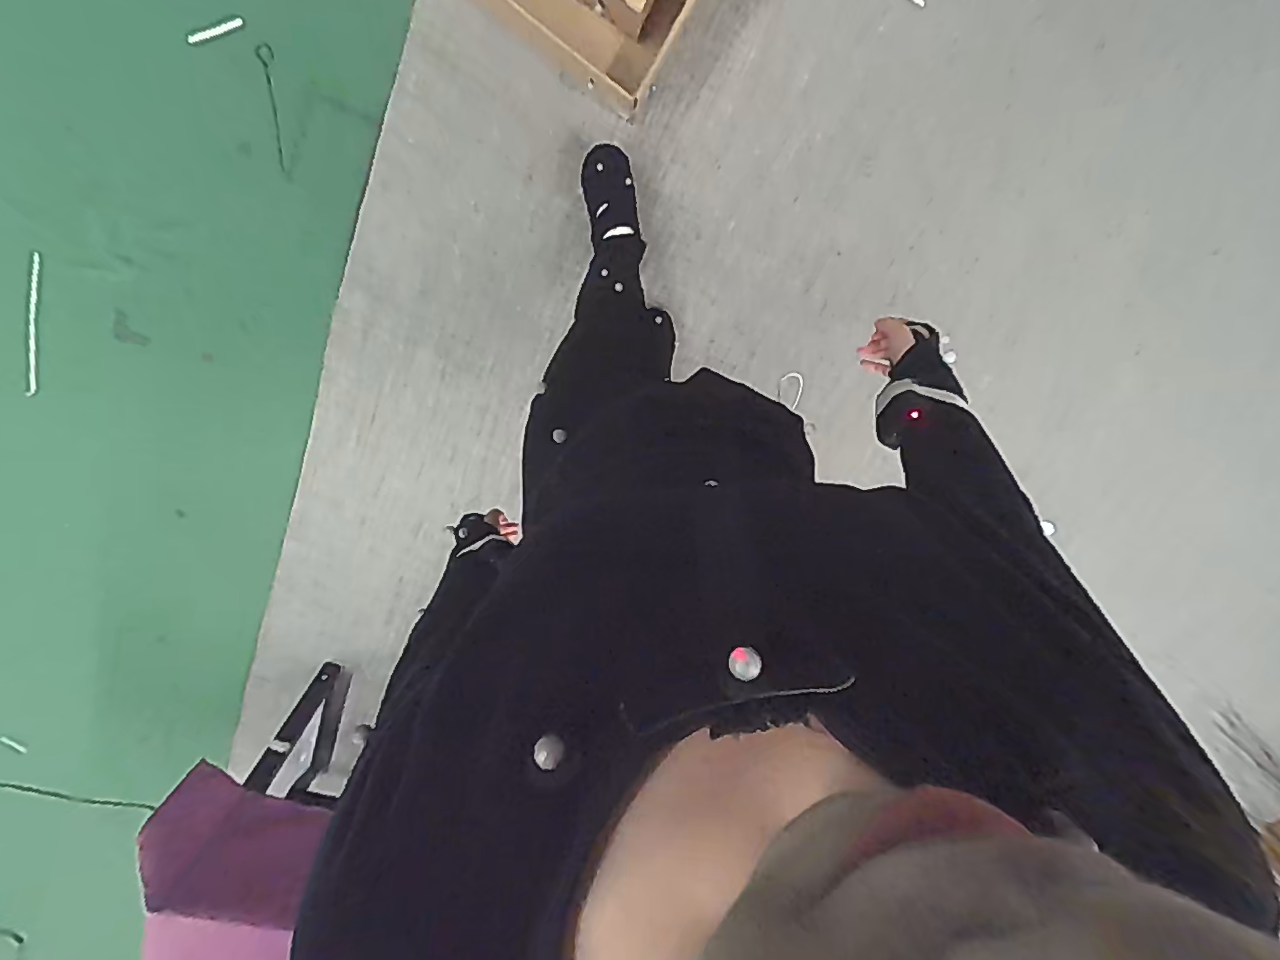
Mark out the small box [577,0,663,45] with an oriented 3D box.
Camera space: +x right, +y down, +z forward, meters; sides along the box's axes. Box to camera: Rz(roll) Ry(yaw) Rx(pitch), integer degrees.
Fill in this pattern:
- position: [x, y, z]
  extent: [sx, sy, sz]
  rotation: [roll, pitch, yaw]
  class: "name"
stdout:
- position: [-0.026, -0.938, 0.971]
  extent: [0.168, 0.176, 0.179]
  rotation: [27, 112, -14]
  class: "small box"
